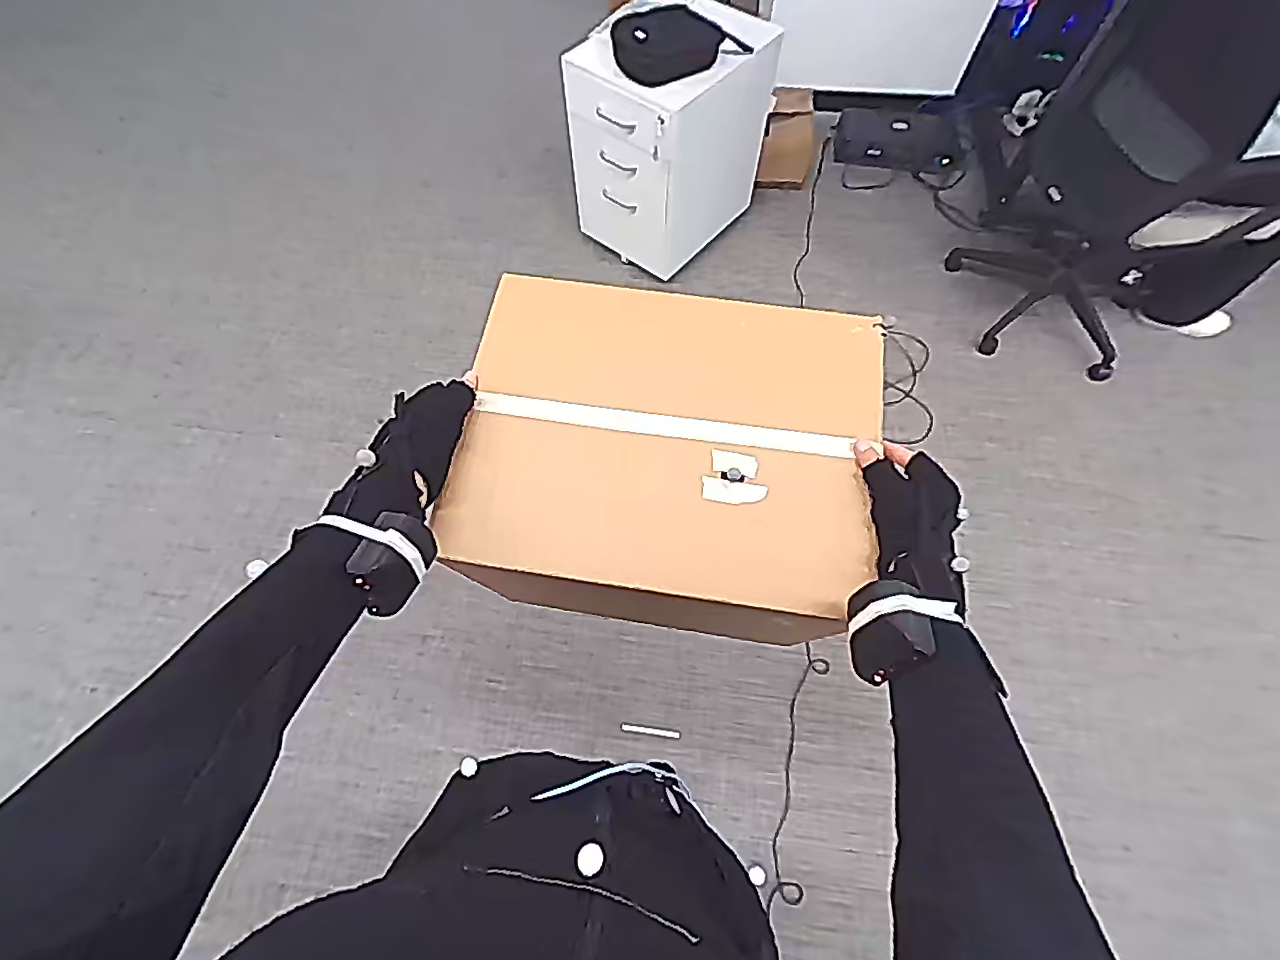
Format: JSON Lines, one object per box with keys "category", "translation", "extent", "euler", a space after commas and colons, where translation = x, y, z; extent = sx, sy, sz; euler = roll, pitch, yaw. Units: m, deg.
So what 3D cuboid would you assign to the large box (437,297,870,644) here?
{"category": "large box", "translation": [0.026, 0.012, 0.677], "extent": [0.408, 0.320, 0.320], "euler": [8, 71, 3]}
